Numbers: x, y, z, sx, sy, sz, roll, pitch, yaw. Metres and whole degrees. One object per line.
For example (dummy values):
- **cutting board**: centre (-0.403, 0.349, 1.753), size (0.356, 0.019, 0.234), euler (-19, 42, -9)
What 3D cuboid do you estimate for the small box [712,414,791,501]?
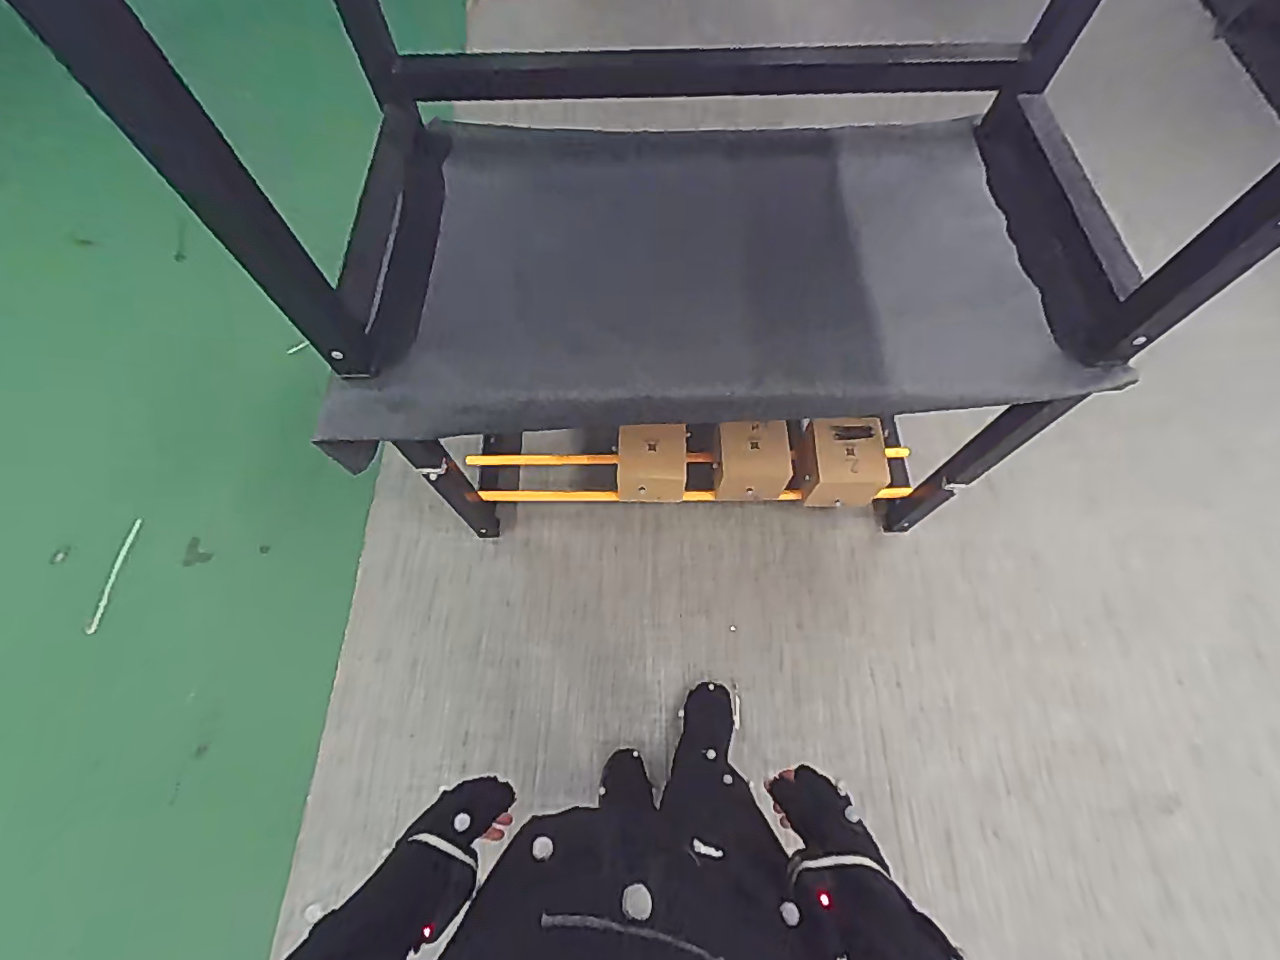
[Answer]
- **small box**: centre (0.276, -0.051, 1.370), size (0.168, 0.176, 0.179), euler (-1, 66, 1)

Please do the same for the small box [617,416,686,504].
- **small box**: centre (0.030, -0.045, 1.370), size (0.168, 0.176, 0.179), euler (1, 67, 0)
